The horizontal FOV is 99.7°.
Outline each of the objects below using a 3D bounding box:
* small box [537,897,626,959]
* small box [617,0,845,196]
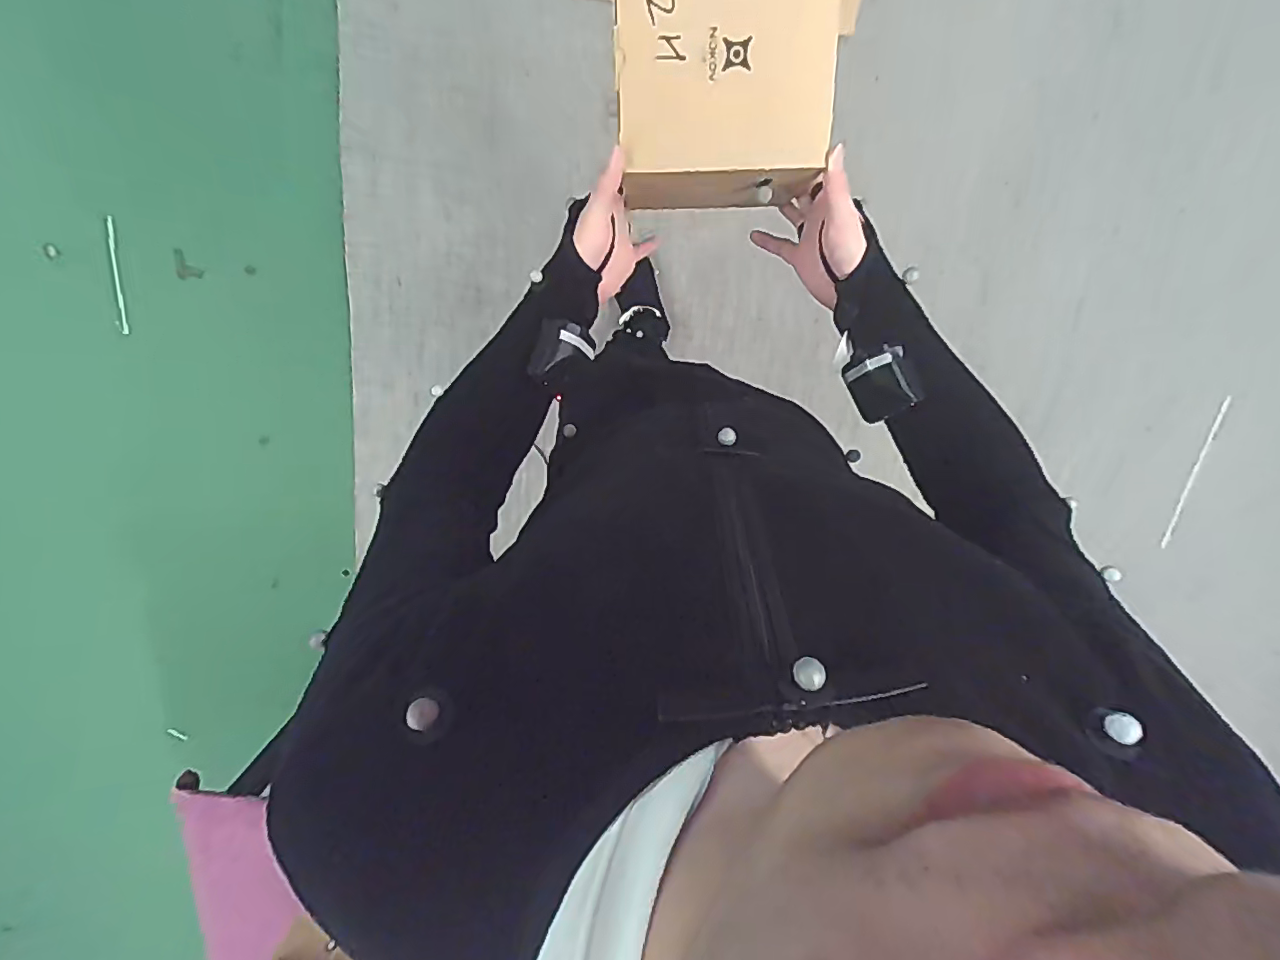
[{"bbox_3d":[-0.126,1.030,1.147,0.179,0.176,0.168,4,107,0],"label":"small box"},{"bbox_3d":[0.071,-0.367,0.494,0.179,0.176,0.168,-1,107,2],"label":"small box"}]
